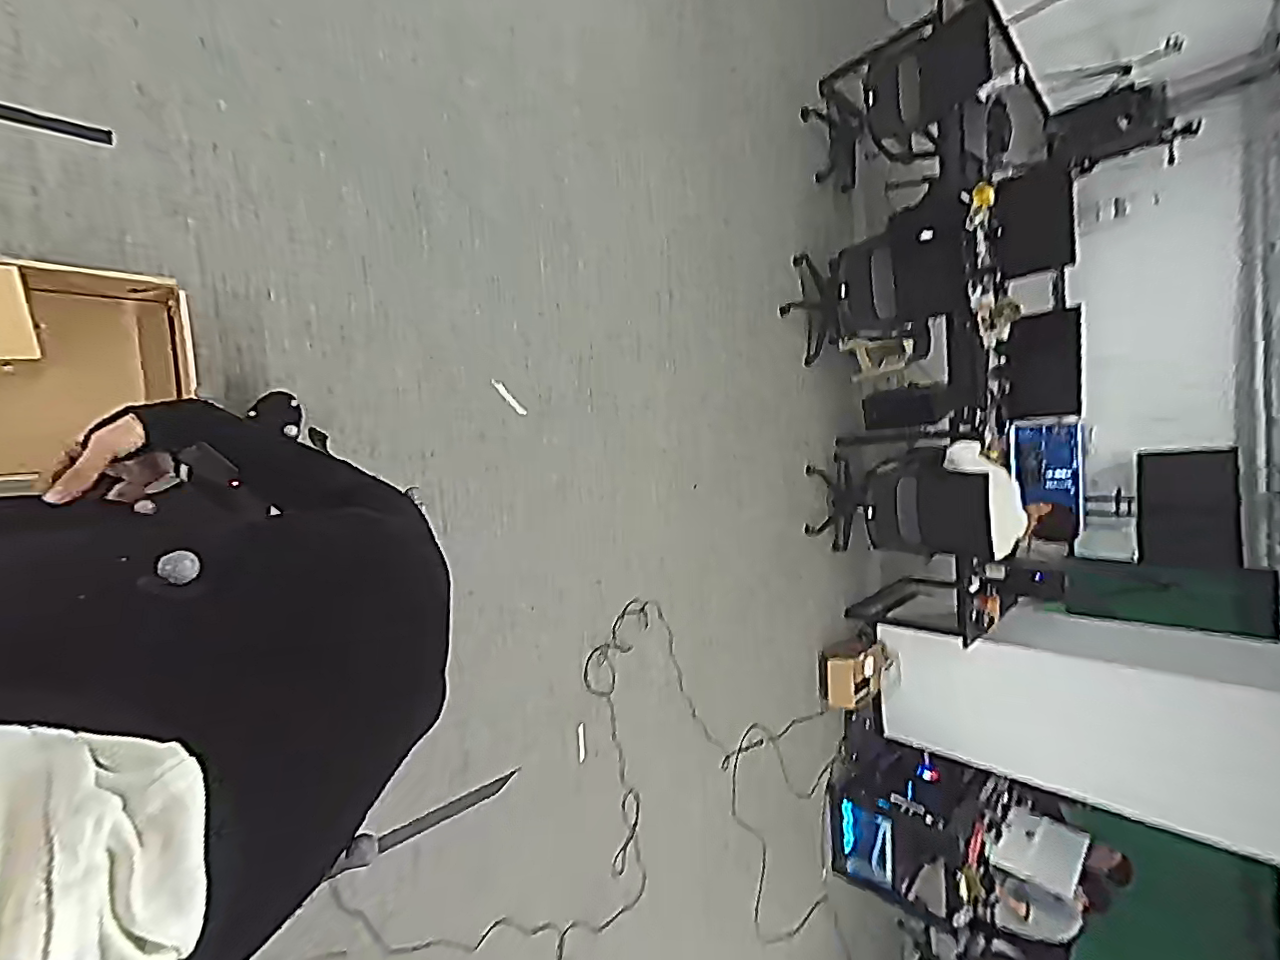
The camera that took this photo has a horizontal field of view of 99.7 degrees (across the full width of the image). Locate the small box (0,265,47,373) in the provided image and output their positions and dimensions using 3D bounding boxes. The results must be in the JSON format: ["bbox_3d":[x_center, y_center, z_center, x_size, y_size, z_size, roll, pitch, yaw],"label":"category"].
[{"bbox_3d":[-1.200,-0.285,0.962,0.179,0.176,0.168,-15,101,-44],"label":"small box"}]
